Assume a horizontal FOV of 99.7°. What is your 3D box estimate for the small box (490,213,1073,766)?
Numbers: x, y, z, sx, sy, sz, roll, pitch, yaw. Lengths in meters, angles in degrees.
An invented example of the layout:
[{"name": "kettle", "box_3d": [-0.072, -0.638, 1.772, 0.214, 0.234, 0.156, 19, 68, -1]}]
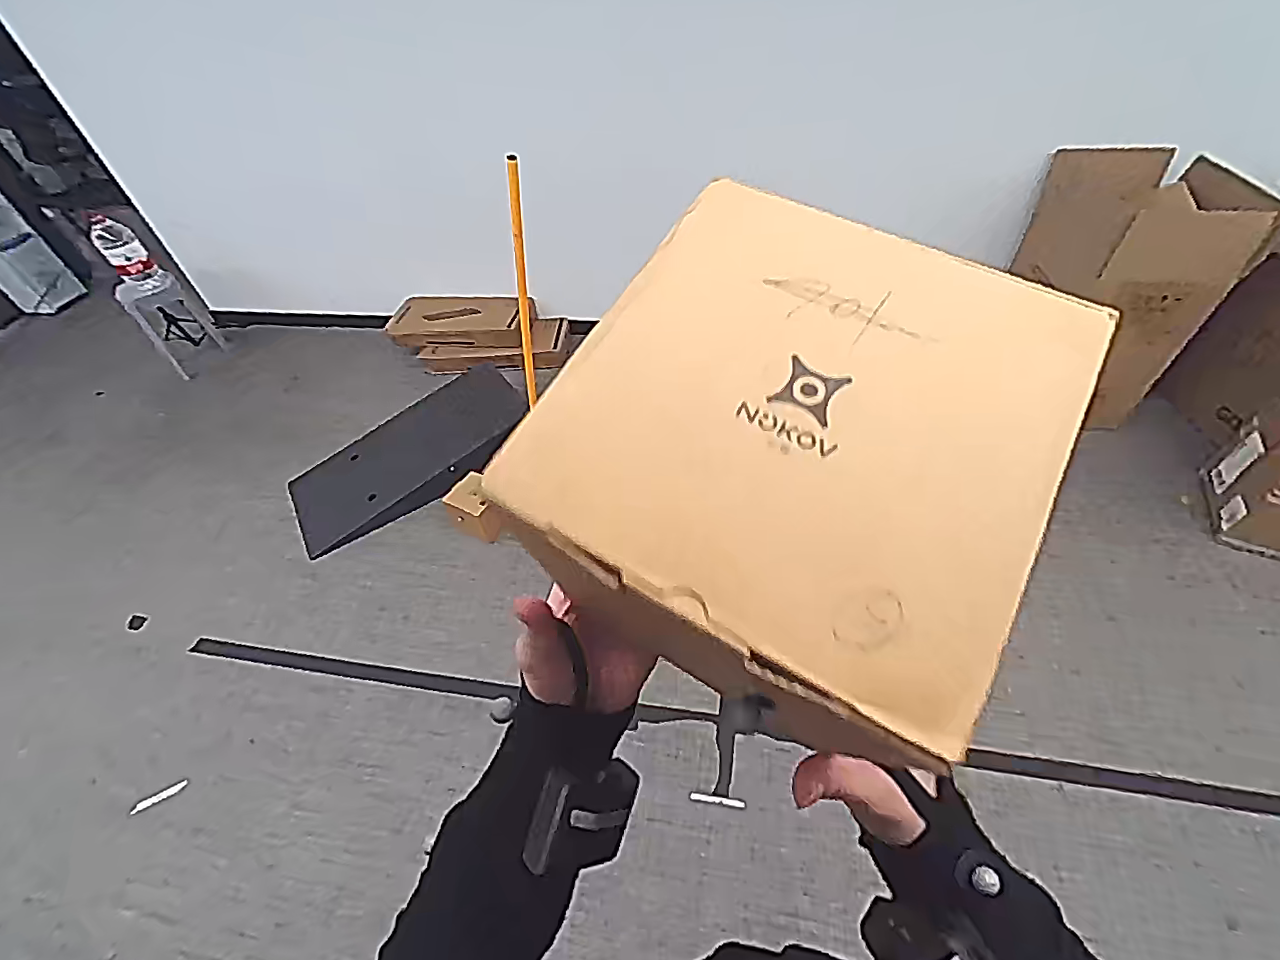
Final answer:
[{"name": "small box", "box_3d": [0.061, 0.013, 0.275, 0.168, 0.176, 0.179, 26, 70, 14]}]
